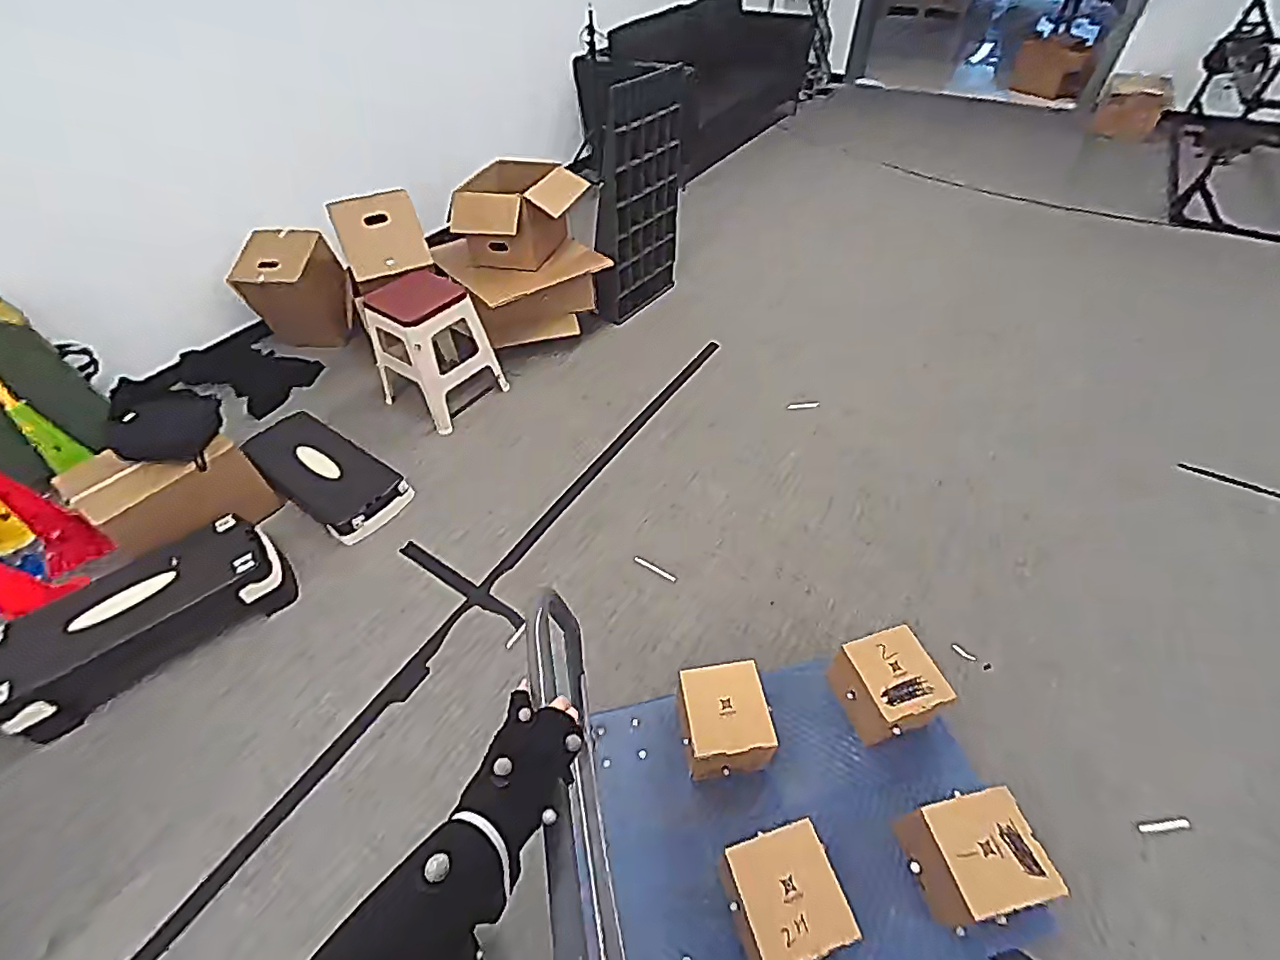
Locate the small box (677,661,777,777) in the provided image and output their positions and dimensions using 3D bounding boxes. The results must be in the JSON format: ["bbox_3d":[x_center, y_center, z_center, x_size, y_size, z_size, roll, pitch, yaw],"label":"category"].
[{"bbox_3d":[0.176,0.511,1.158,0.168,0.176,0.179,-6,50,-5],"label":"small box"}]

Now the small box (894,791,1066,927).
[{"bbox_3d":[0.602,0.692,0.986,0.179,0.176,0.168,-9,48,-6],"label":"small box"}]

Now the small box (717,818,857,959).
[{"bbox_3d":[0.245,0.734,0.953,0.168,0.176,0.179,-13,49,-10],"label":"small box"}]
